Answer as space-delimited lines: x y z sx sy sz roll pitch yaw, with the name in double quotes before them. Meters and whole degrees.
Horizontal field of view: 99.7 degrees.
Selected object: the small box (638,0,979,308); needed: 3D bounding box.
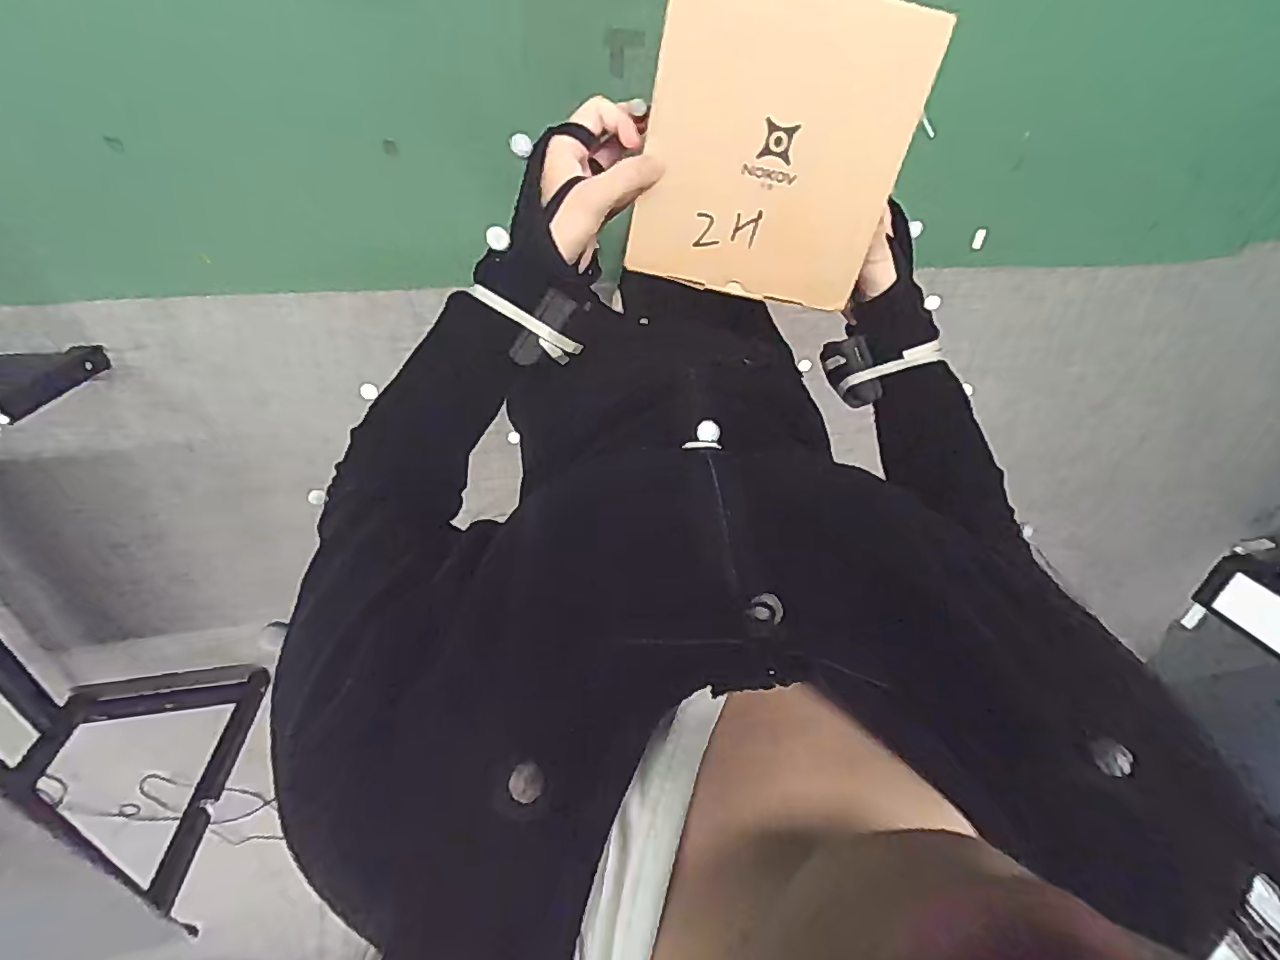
"small box" 0.095 -0.252 0.405 0.168 0.176 0.179 11 121 -6
